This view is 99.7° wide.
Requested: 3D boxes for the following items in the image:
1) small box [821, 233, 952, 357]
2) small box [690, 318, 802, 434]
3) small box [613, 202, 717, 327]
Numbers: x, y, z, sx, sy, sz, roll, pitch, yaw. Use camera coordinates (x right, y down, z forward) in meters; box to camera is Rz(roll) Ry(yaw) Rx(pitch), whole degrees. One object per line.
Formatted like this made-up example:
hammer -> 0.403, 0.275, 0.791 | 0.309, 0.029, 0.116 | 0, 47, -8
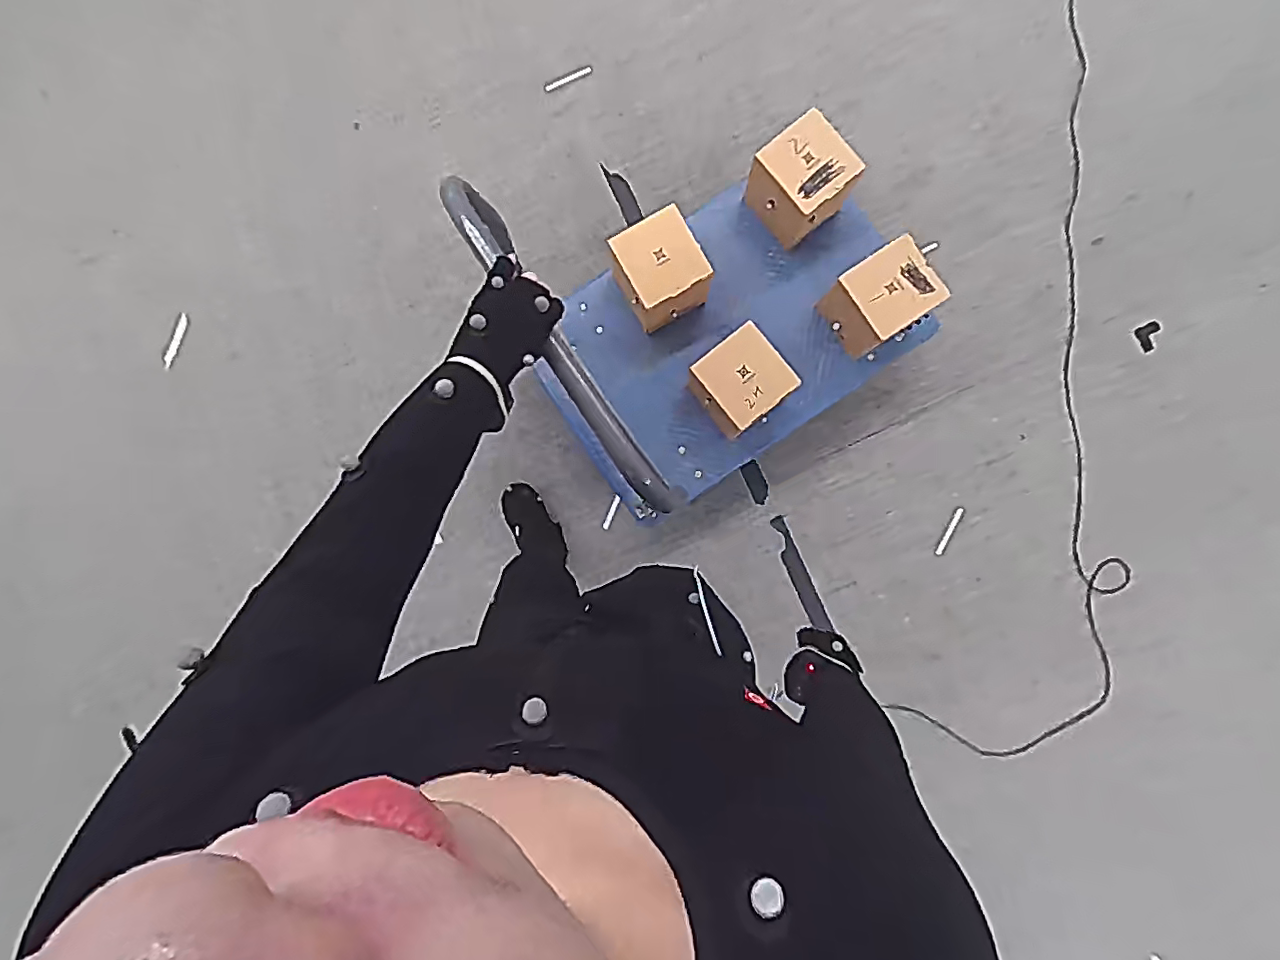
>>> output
small box -> 0.538, -0.403, 1.205 | 0.179, 0.176, 0.168 | -33, 88, 2
small box -> 0.226, -0.221, 1.208 | 0.168, 0.176, 0.179 | -38, 88, 0
small box -> 0.051, -0.476, 1.221 | 0.168, 0.176, 0.179 | -29, 90, 0
